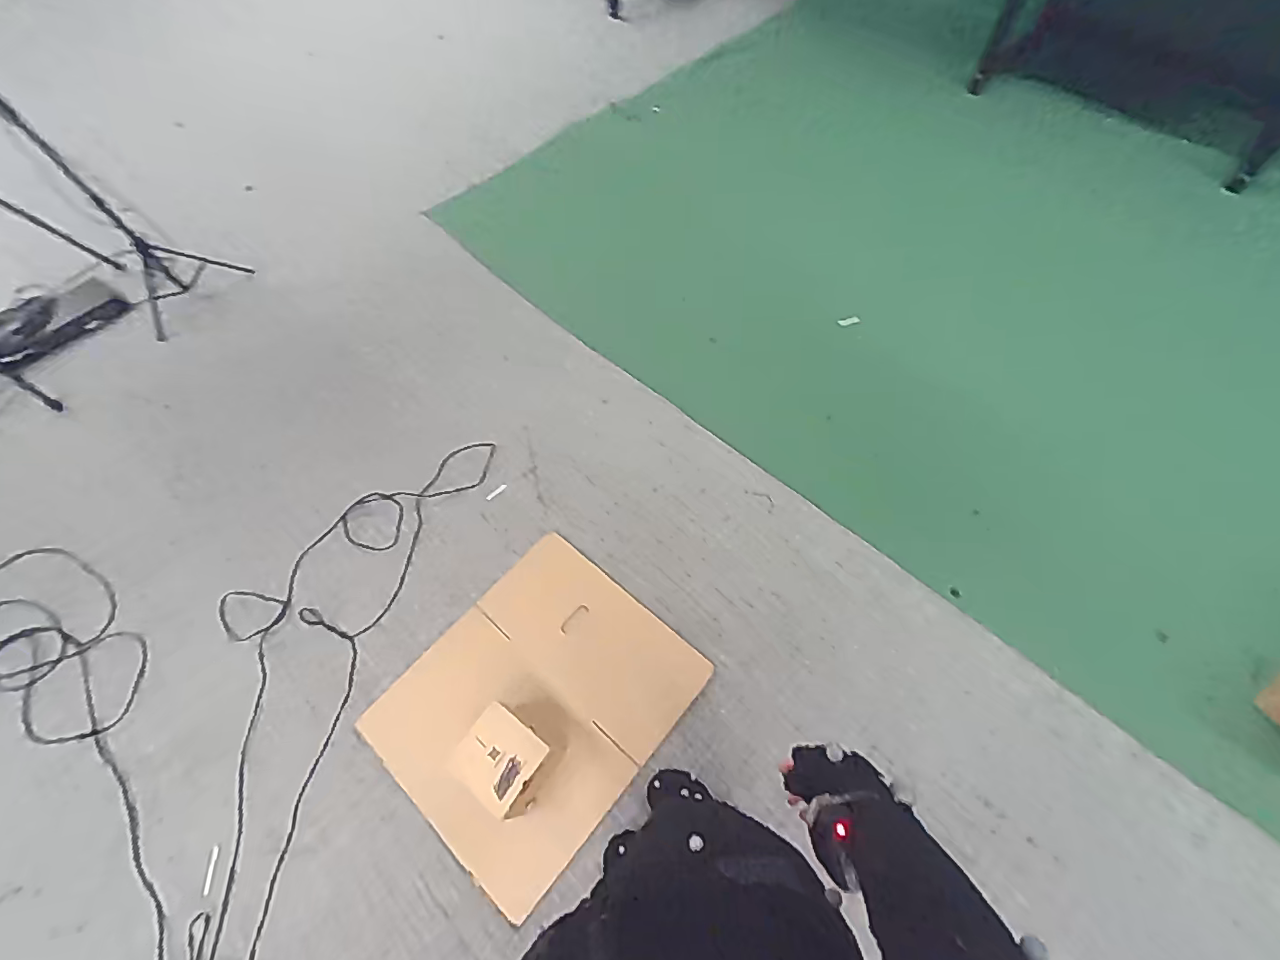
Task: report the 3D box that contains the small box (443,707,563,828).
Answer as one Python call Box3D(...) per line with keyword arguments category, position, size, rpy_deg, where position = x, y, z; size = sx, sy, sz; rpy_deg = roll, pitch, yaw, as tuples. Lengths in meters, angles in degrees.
Box3D(category="small box", position=(-0.295, 0.637, 1.208), size=(0.179, 0.176, 0.168), rpy_deg=(31, 67, 20))
